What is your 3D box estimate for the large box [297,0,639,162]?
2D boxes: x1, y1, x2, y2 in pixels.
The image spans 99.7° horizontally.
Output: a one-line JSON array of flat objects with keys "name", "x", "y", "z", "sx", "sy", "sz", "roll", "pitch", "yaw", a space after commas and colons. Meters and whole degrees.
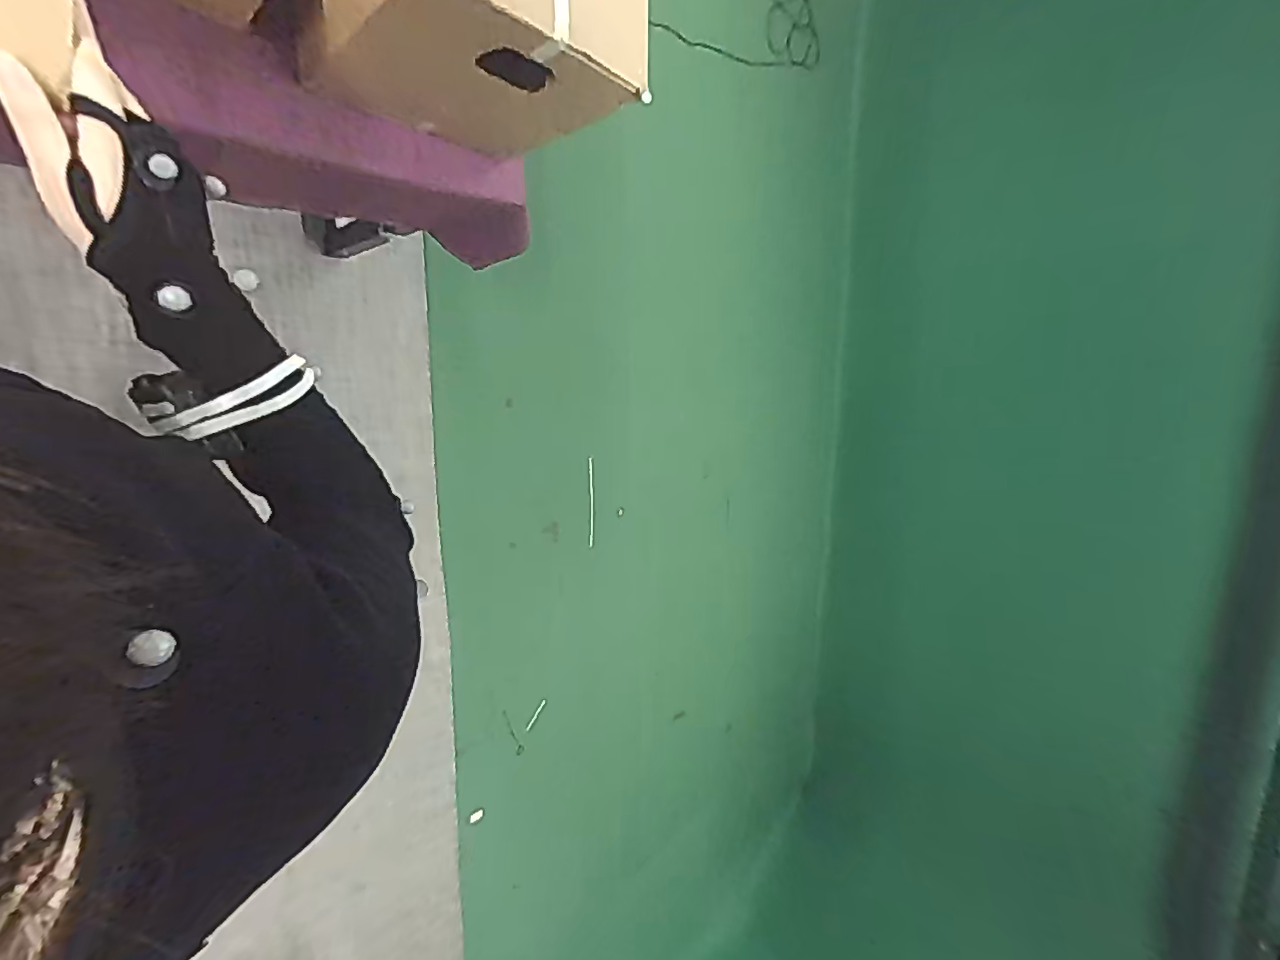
[{"name": "large box", "x": -0.215, "y": -0.690, "z": 0.669, "sx": 0.320, "sy": 0.320, "sz": 0.408, "roll": -12, "pitch": 106, "yaw": -48}]
